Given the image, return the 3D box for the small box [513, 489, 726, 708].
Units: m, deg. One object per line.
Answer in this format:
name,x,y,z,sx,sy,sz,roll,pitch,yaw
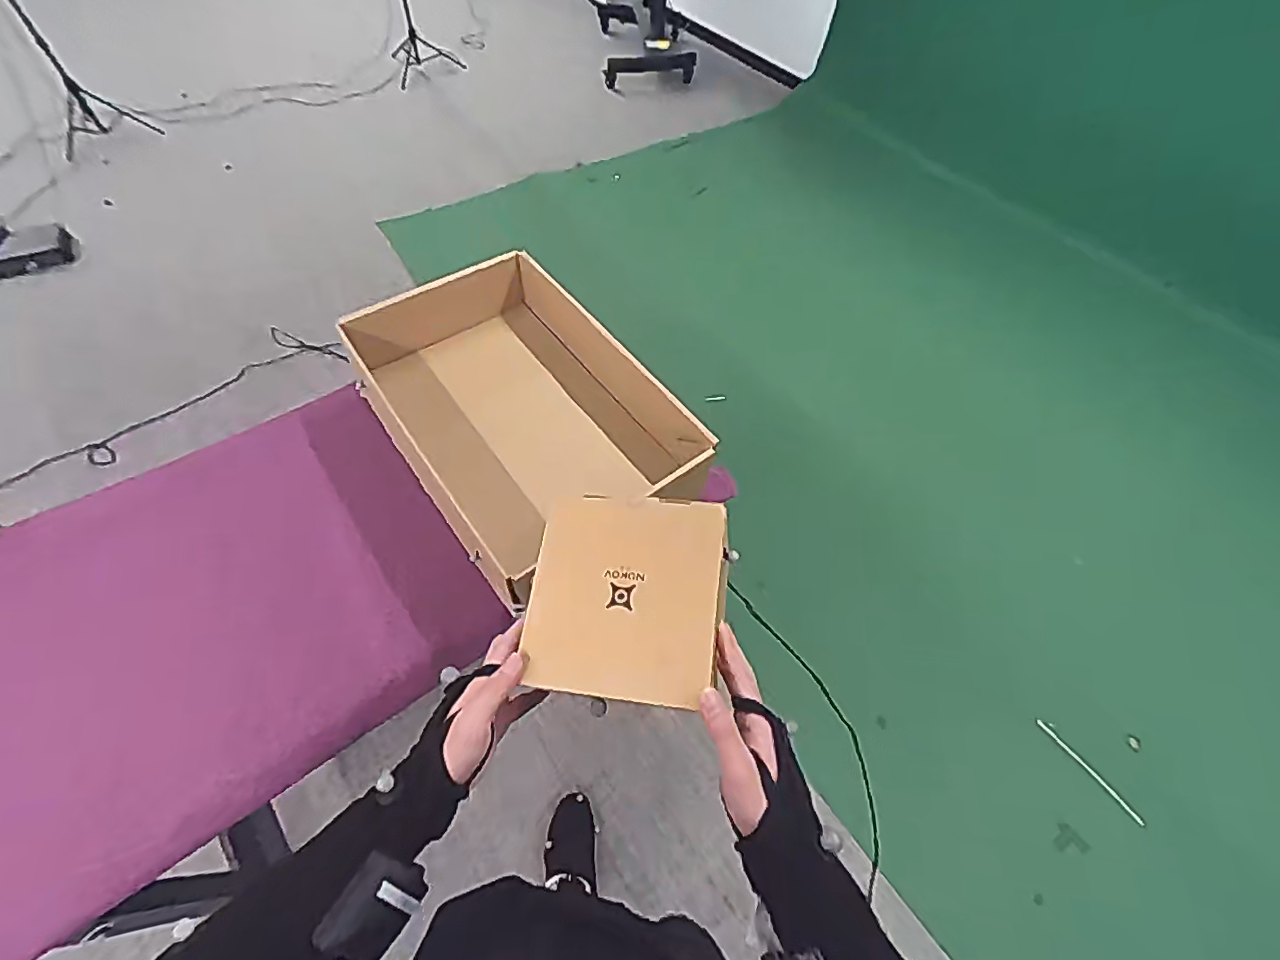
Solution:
small box,-0.004,0.124,0.540,0.168,0.176,0.179,3,66,12
